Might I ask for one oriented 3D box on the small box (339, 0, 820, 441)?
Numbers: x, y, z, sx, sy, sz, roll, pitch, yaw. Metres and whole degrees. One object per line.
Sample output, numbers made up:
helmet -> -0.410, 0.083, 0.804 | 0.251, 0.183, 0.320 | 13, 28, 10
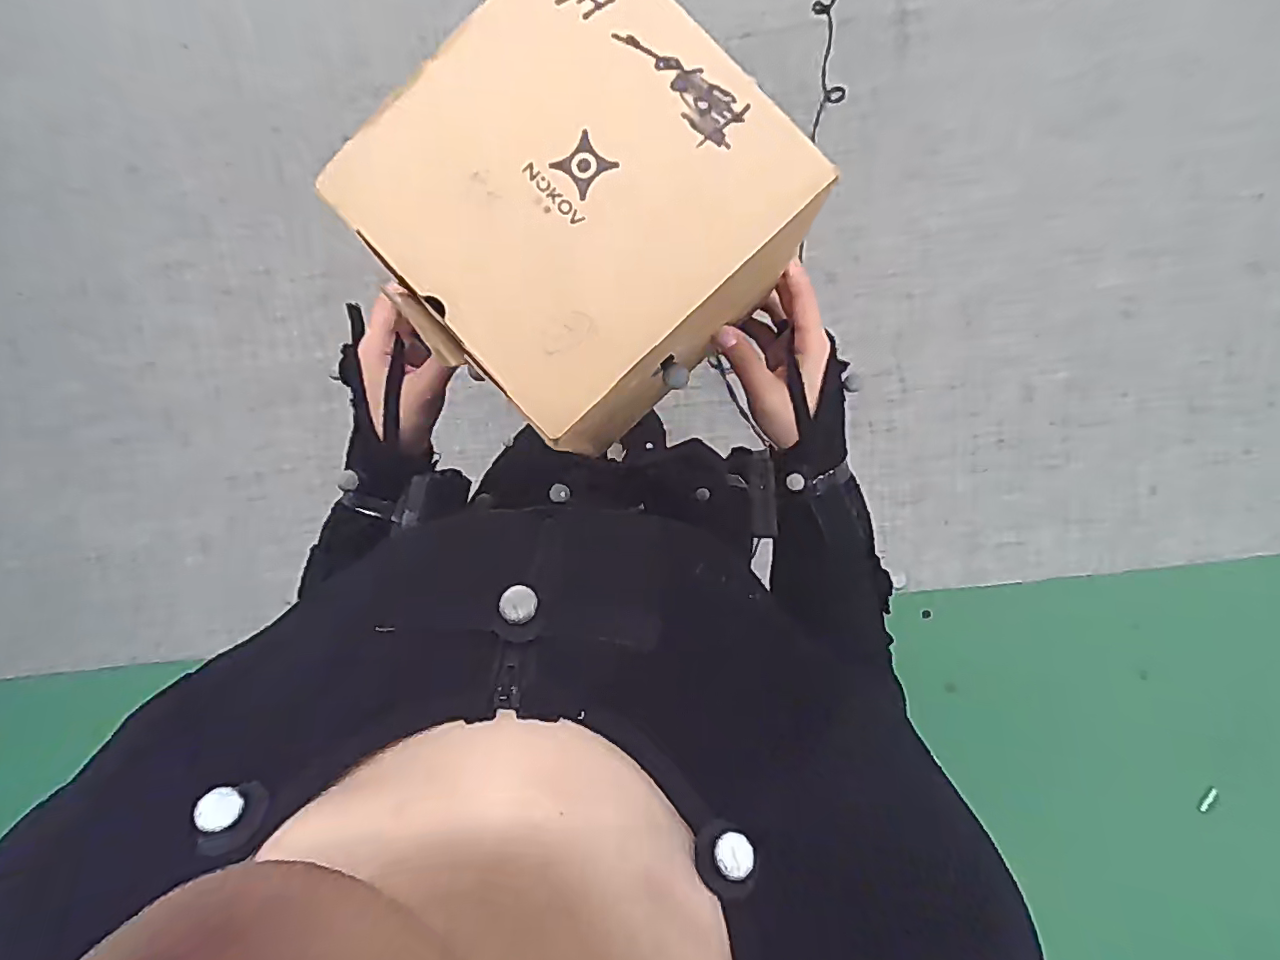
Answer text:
small box -> -0.026, -0.139, 0.334 | 0.179, 0.176, 0.168 | -44, 89, 3
